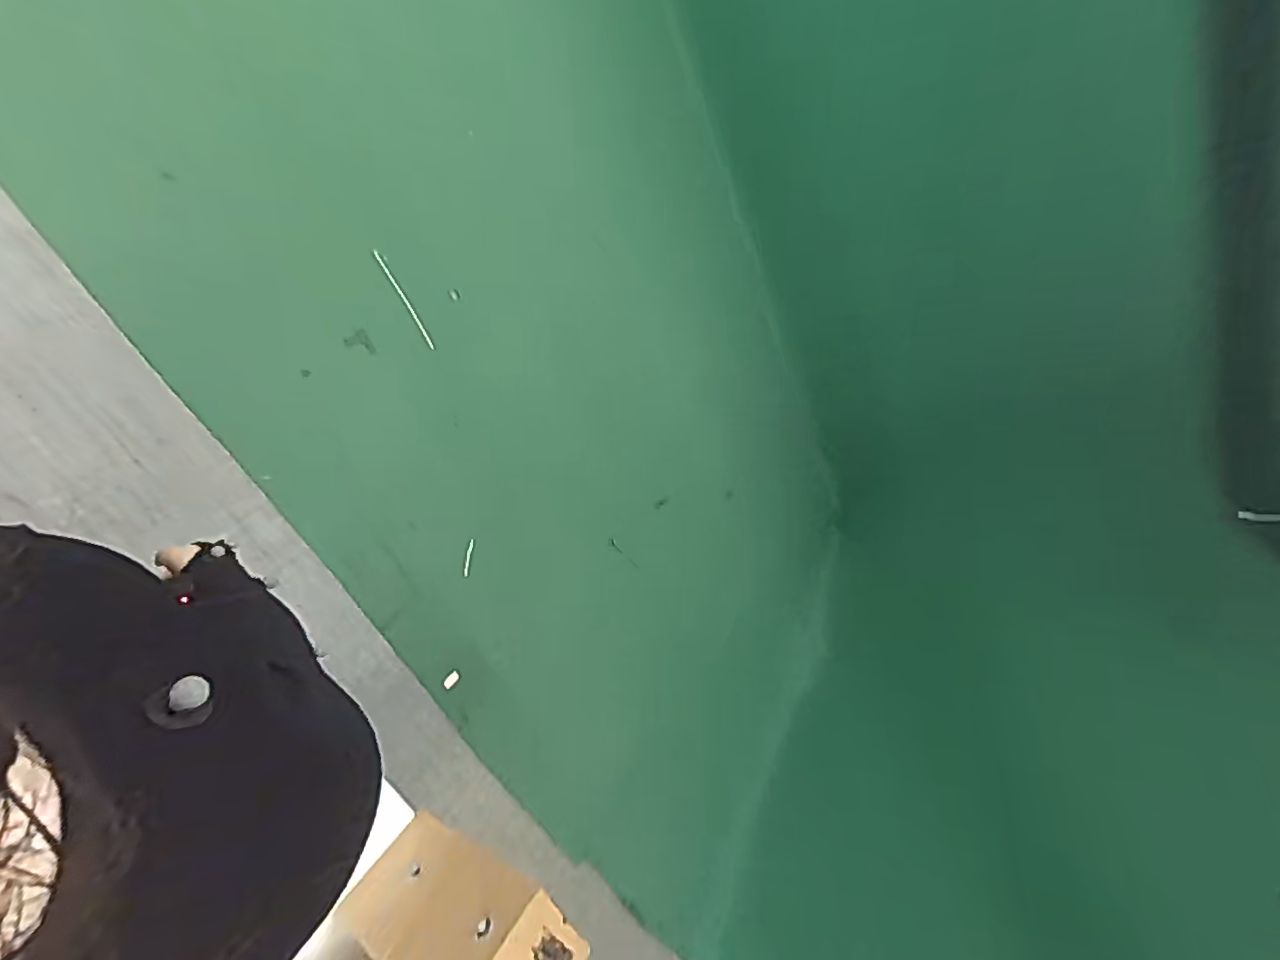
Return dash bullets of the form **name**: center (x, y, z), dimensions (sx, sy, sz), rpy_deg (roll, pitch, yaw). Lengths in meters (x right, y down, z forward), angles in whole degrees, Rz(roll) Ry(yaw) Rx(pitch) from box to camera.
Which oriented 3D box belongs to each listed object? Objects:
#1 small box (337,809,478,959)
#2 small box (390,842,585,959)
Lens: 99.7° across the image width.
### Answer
- **small box**: center (-0.346, 0.680, 0.879), dimensions (0.179, 0.176, 0.168), rpy_deg (-45, 118, -43)
- **small box**: center (-0.218, 0.670, 0.775), dimensions (0.179, 0.176, 0.168), rpy_deg (-45, 119, -41)
